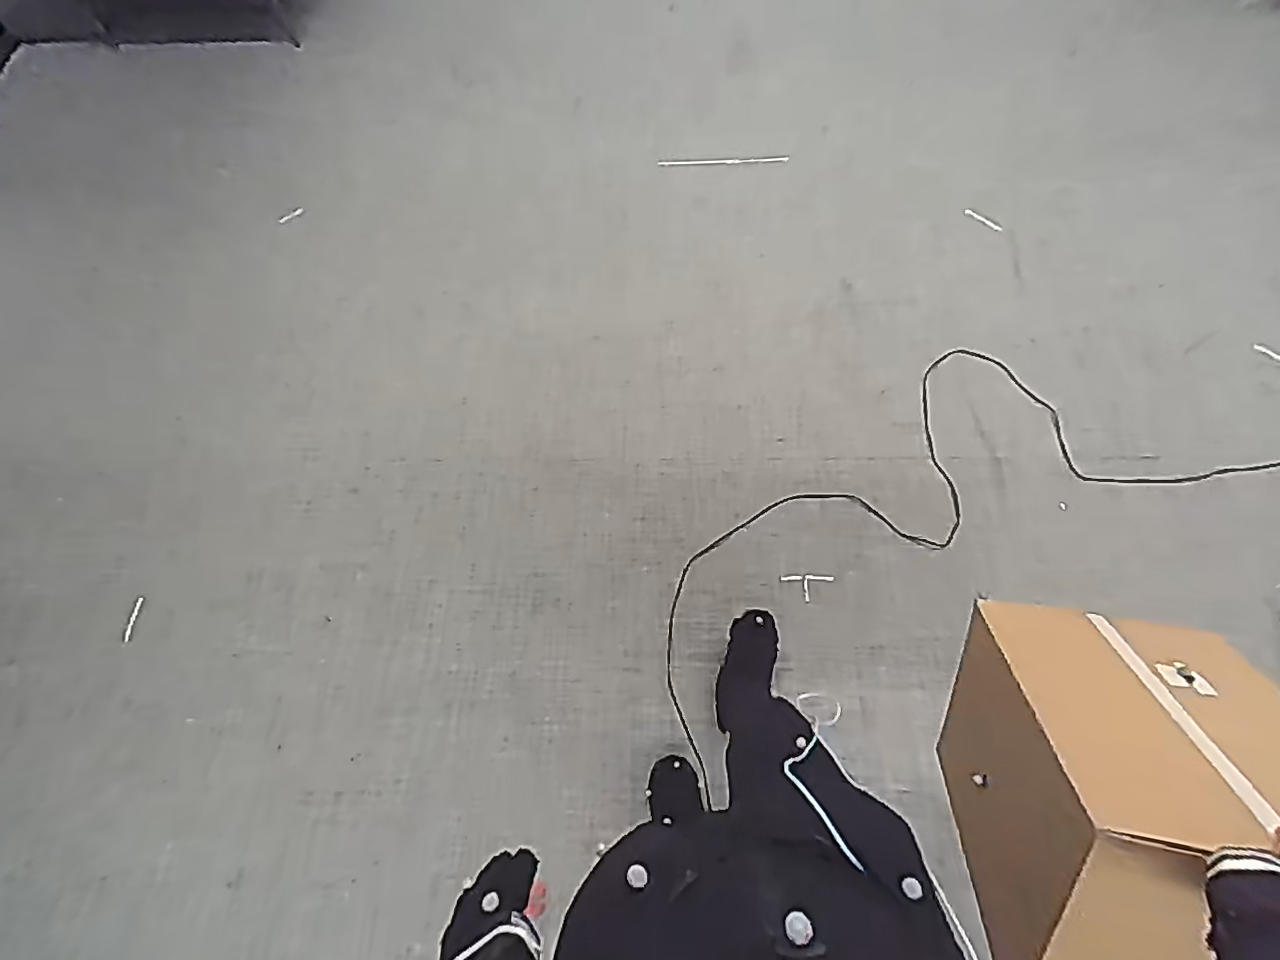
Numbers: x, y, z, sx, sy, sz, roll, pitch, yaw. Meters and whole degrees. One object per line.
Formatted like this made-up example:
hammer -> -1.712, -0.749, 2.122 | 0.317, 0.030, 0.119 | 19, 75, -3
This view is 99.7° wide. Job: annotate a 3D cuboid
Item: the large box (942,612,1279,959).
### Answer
large box -> 0.623, 0.426, 0.687 | 0.320, 0.408, 0.320 | 7, 110, 15
